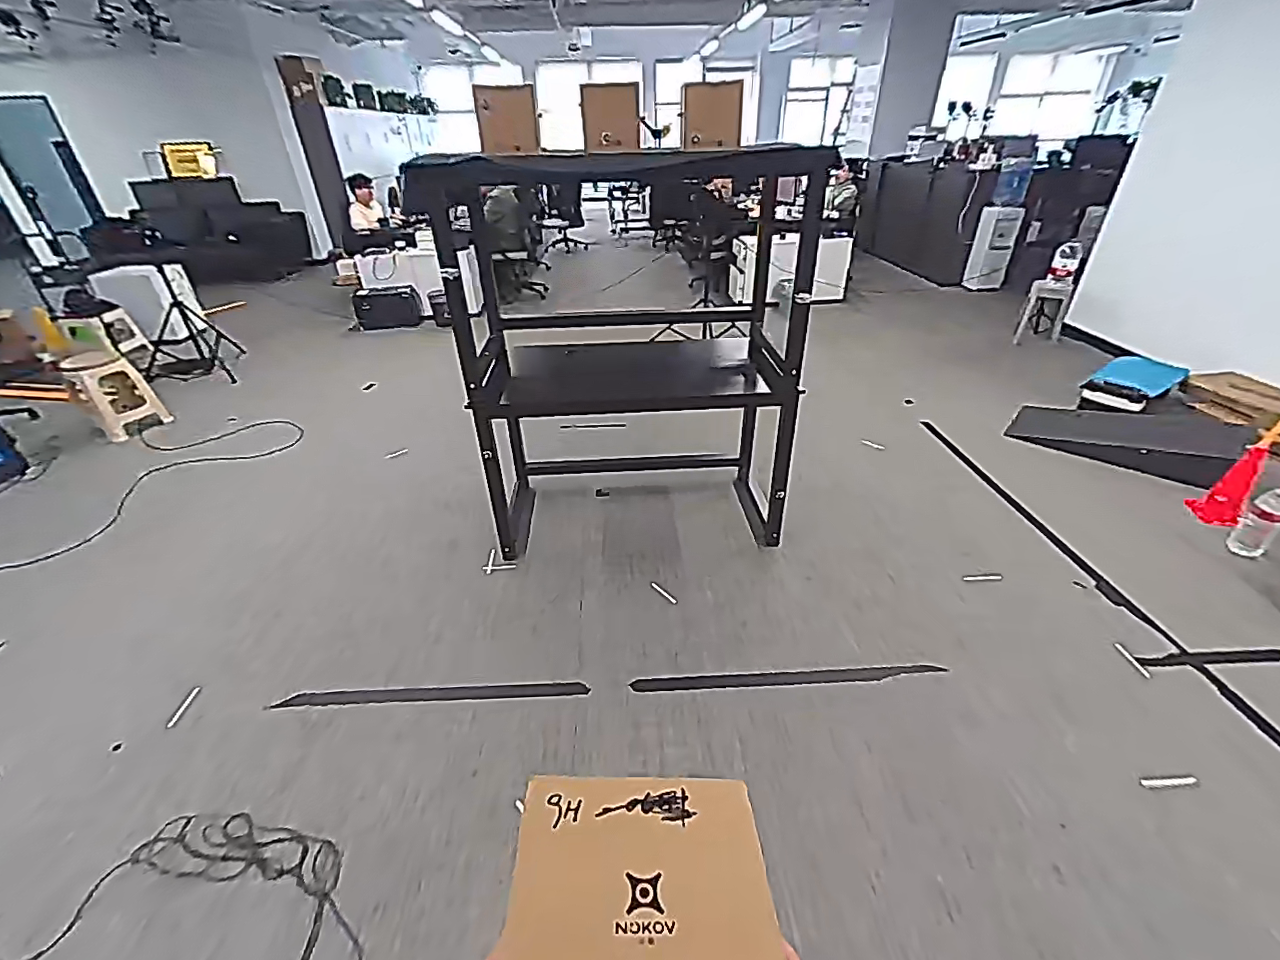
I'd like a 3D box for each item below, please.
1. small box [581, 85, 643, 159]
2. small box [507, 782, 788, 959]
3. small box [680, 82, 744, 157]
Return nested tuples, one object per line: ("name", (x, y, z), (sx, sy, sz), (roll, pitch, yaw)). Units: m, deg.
("small box", (-0.077, -1.028, 1.562), (0.168, 0.176, 0.179), (-2, 32, 1))
("small box", (0.000, 0.338, 0.363), (0.168, 0.176, 0.179), (3, 26, -4))
("small box", (0.206, -1.046, 1.577), (0.168, 0.176, 0.179), (-2, 32, 0))
